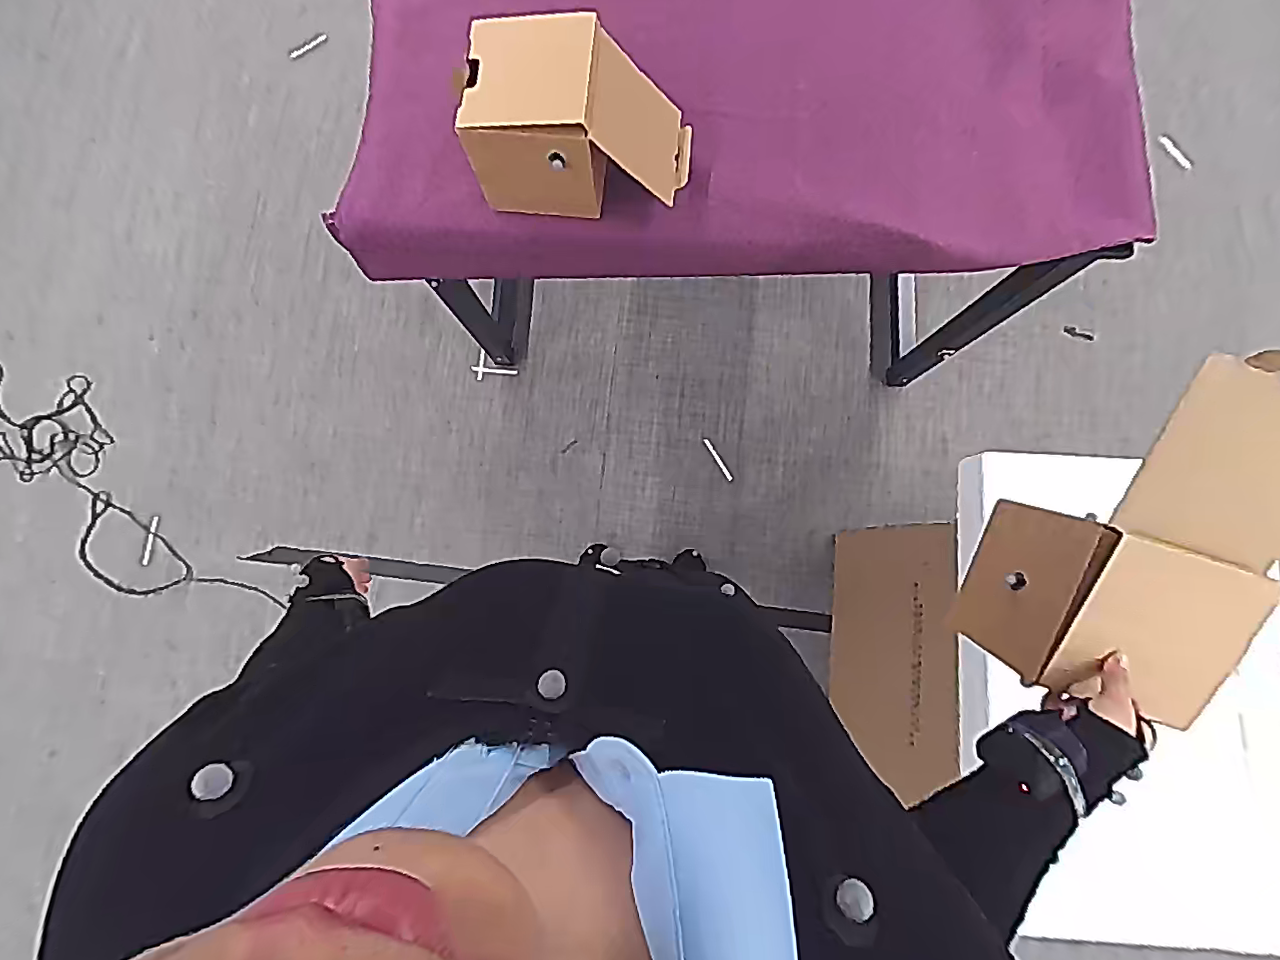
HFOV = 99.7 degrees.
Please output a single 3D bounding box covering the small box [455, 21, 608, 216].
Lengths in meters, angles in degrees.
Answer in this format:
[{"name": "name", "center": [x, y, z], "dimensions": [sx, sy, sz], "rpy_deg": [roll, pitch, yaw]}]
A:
[{"name": "small box", "center": [-0.143, -0.511, 0.786], "dimensions": [0.179, 0.176, 0.168], "rpy_deg": [6, 81, 2]}]
